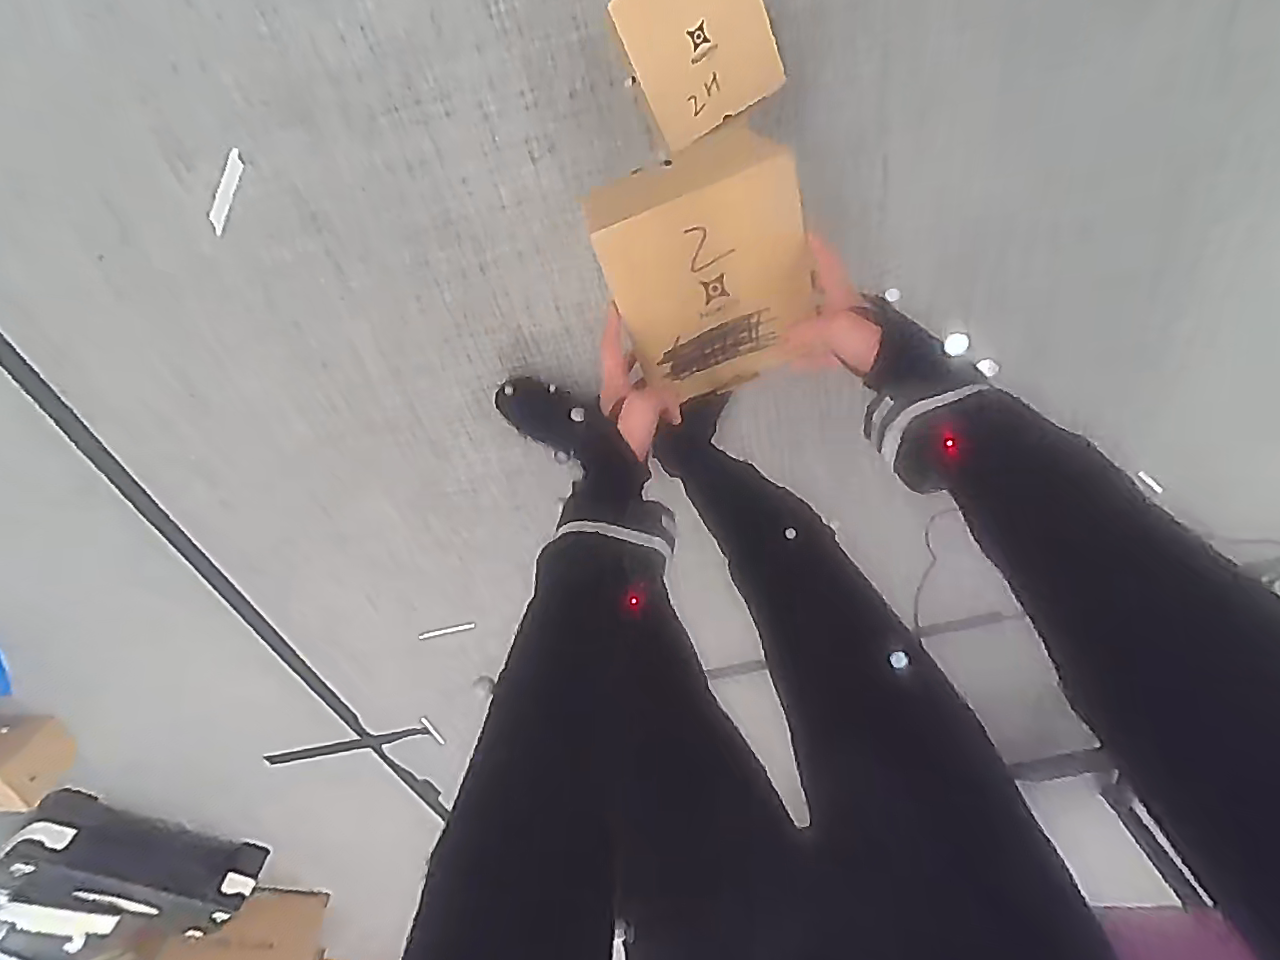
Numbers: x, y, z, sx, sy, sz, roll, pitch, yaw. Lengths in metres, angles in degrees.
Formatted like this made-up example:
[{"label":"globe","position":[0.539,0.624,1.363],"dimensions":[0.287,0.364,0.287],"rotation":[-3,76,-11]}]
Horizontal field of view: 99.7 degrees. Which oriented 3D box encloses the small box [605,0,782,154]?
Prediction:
[{"label":"small box","position":[0.062,-0.565,0.719],"dimensions":[0.168,0.176,0.179],"rotation":[-26,122,12]}]
